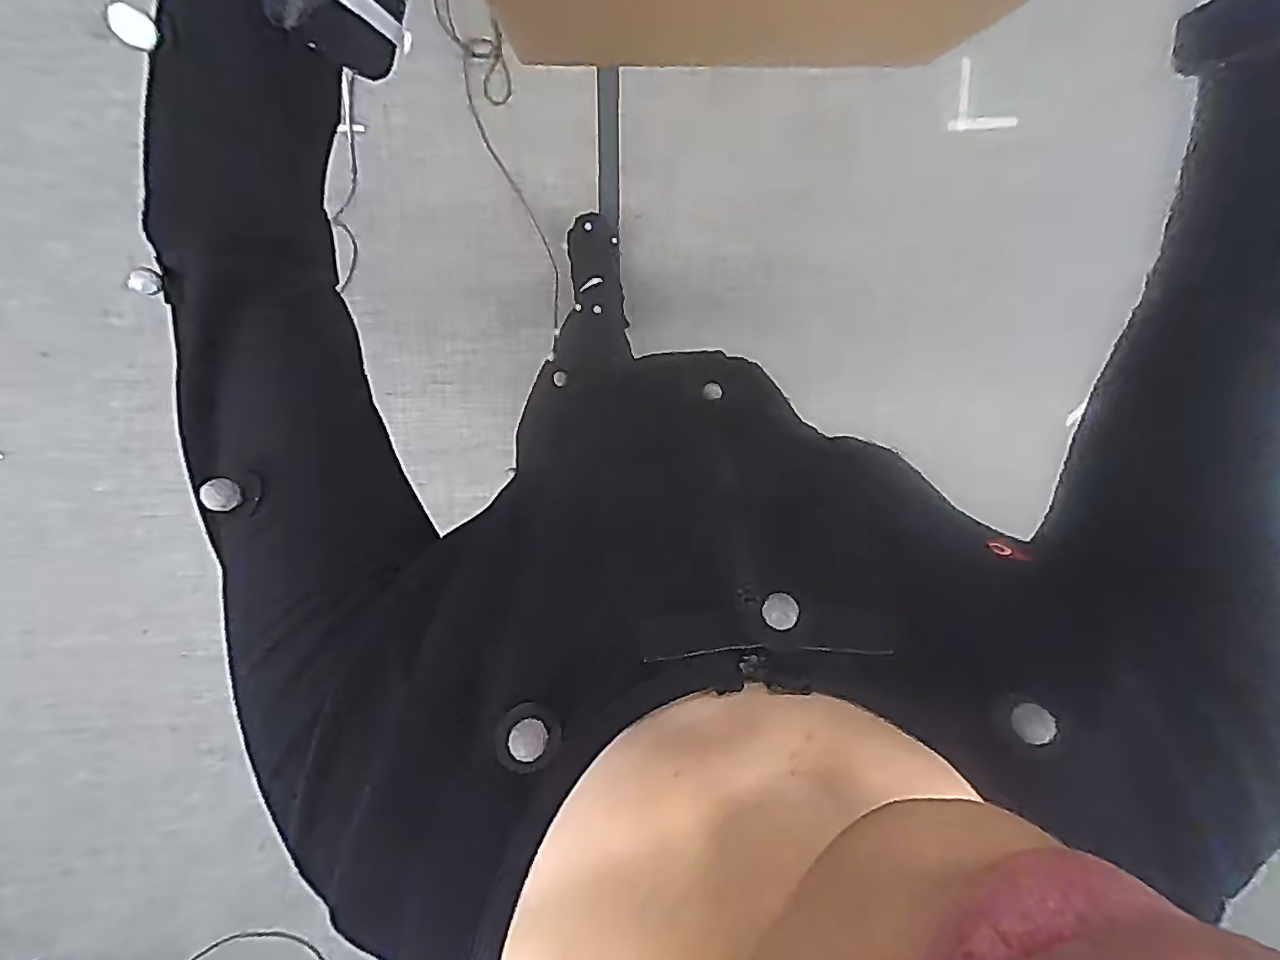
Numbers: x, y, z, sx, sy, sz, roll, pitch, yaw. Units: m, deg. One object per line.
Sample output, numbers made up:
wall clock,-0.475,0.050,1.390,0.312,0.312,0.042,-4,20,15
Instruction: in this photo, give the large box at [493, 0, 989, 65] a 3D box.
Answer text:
large box,0.080,-0.498,0.336,0.408,0.320,0.320,-1,113,-1
